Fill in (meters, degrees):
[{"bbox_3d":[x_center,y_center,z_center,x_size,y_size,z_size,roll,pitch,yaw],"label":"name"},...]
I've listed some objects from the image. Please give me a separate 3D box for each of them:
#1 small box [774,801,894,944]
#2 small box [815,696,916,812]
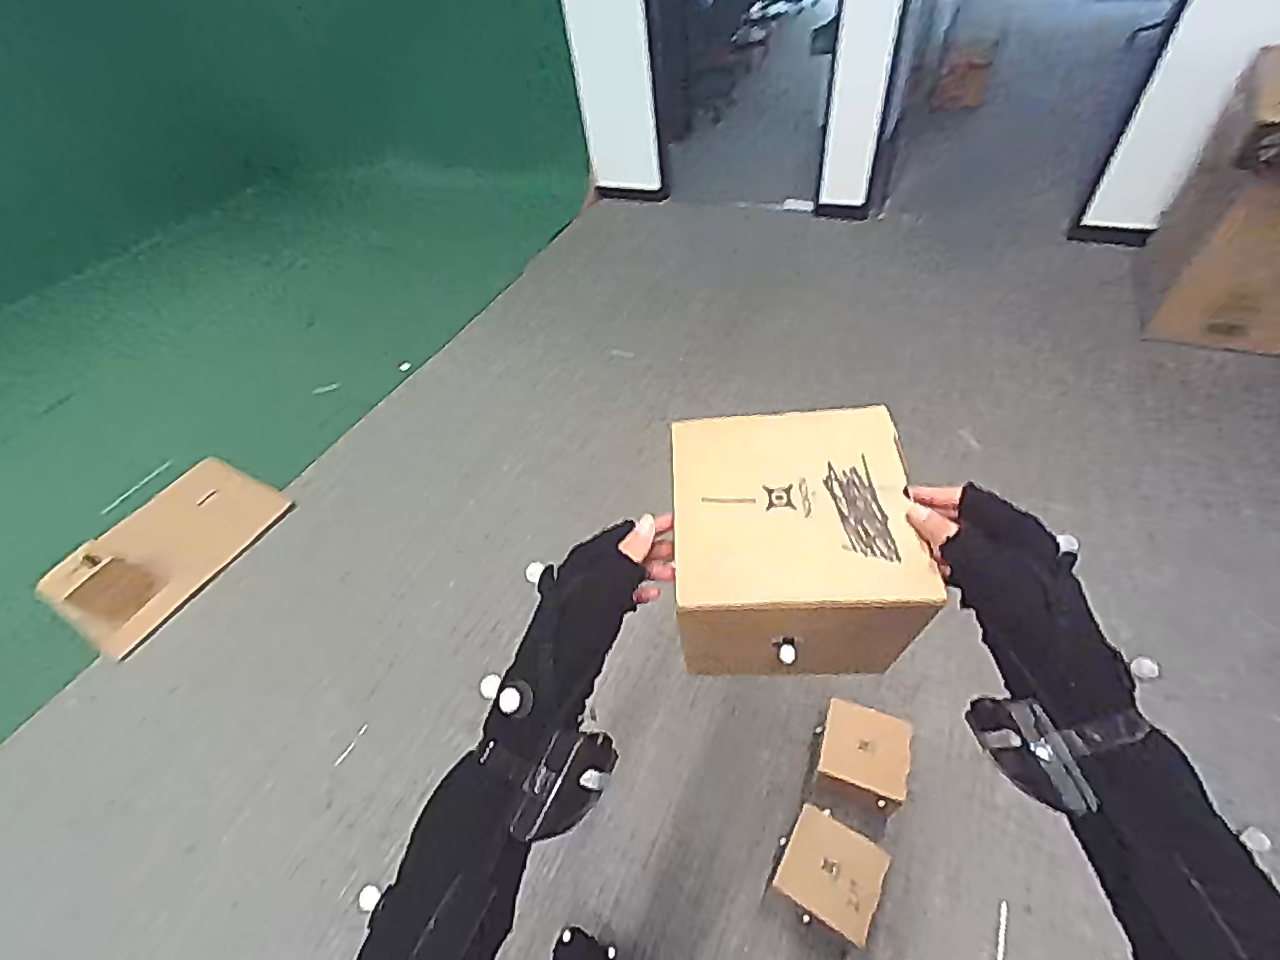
[{"bbox_3d":[0.383,0.794,1.094,0.179,0.176,0.168,23,57,26],"label":"small box"},{"bbox_3d":[0.504,0.623,1.223,0.179,0.176,0.168,14,53,19],"label":"small box"}]
